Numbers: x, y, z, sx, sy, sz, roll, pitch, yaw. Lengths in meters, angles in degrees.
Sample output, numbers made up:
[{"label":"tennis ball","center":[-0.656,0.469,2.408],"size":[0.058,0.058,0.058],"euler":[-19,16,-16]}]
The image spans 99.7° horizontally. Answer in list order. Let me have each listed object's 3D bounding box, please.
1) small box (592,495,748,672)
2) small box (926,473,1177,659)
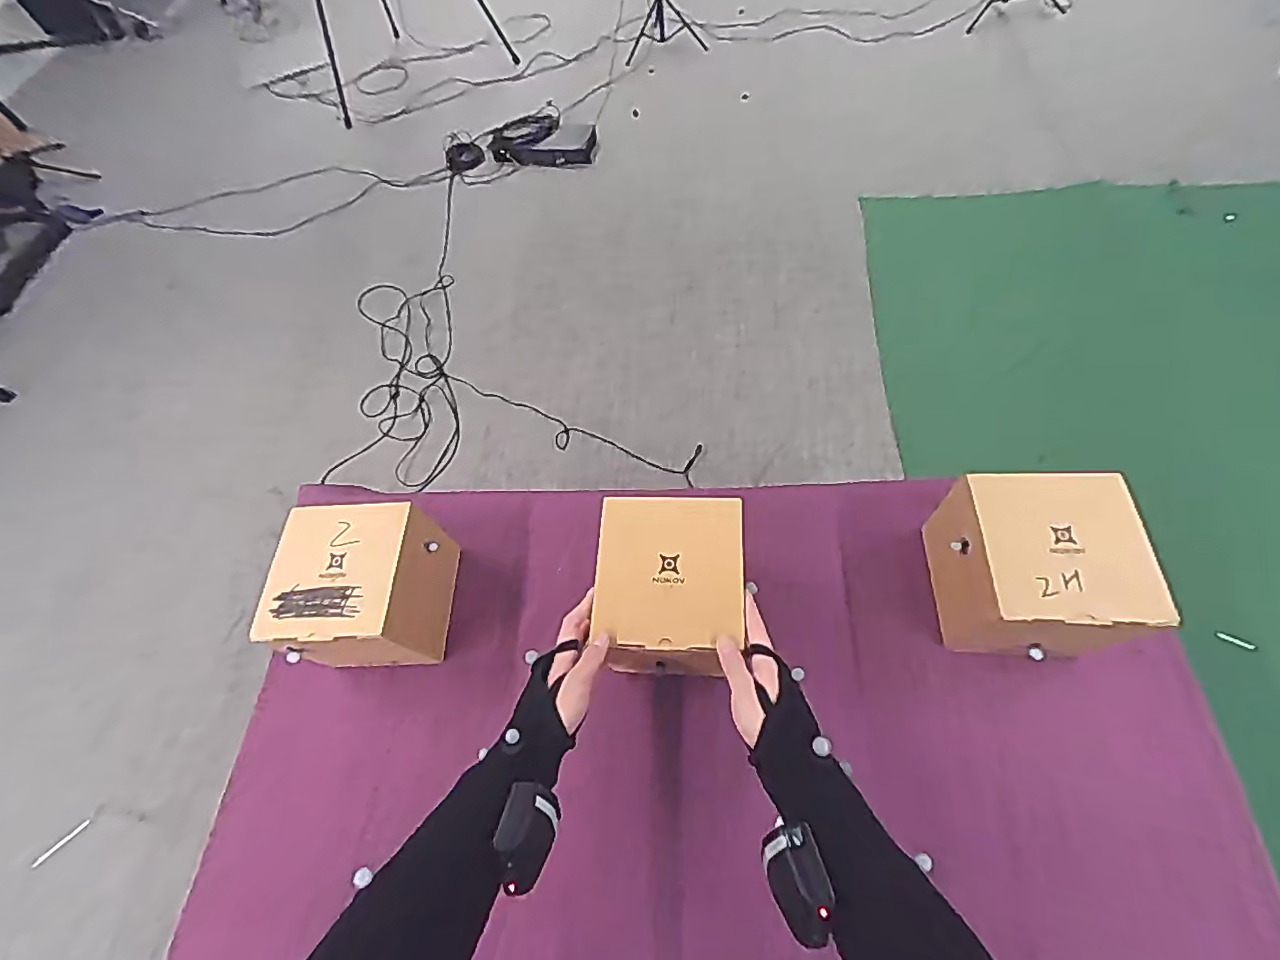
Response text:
[{"label":"small box","center":[0.042,0.132,0.668],"size":[0.168,0.176,0.179],"euler":[1,65,6]},{"label":"small box","center":[0.469,0.108,0.656],"size":[0.168,0.176,0.179],"euler":[0,62,9]}]
